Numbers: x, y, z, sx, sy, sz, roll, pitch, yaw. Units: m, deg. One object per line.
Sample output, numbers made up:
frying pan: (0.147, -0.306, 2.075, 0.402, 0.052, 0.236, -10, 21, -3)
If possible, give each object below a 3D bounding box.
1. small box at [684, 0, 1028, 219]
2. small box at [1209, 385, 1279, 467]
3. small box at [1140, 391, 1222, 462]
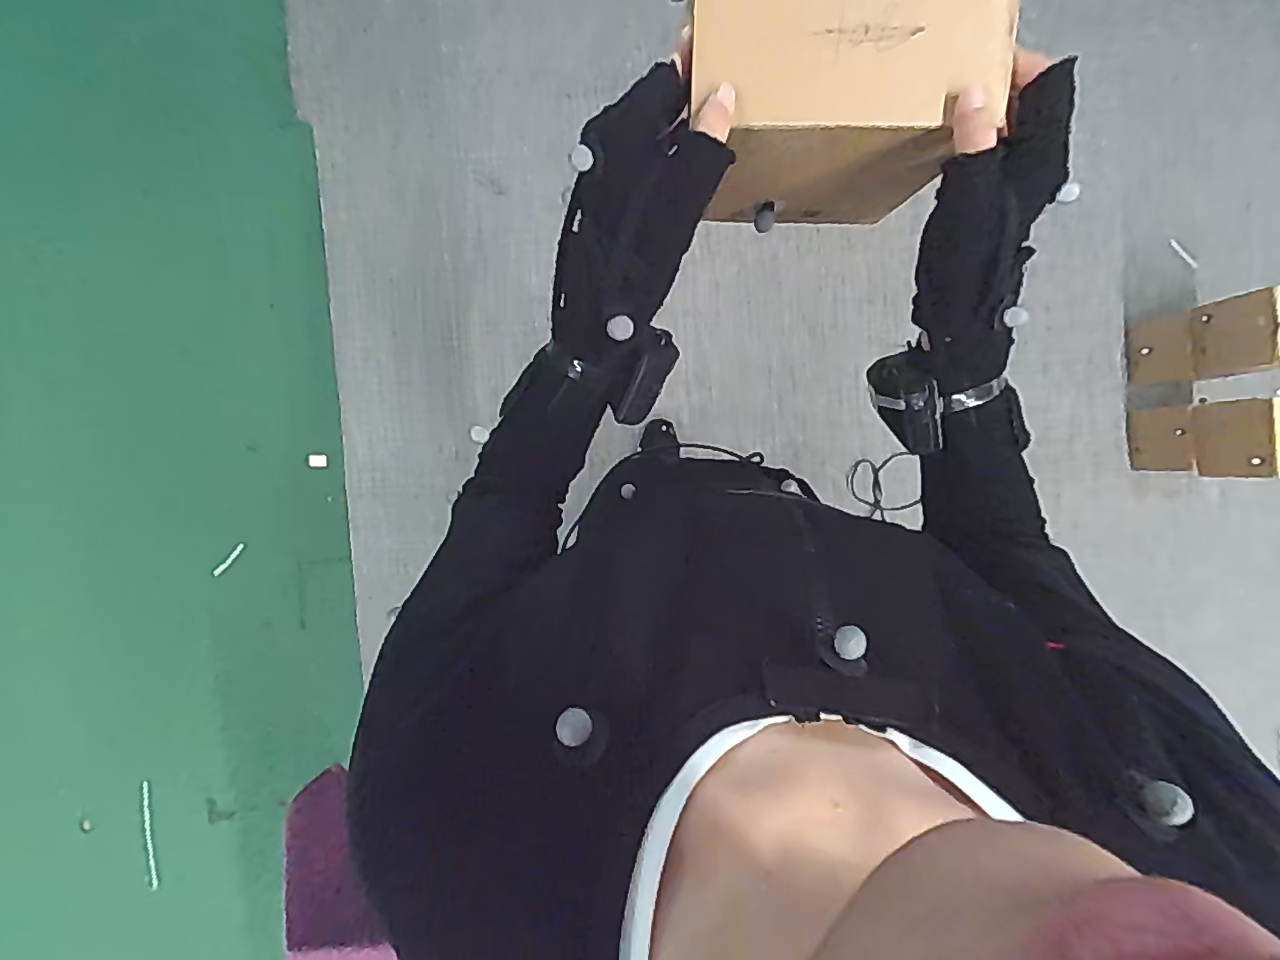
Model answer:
small box: (0.116, -0.288, 0.347, 0.168, 0.176, 0.179, 2, 100, 2)
small box: (1.417, -0.123, 1.191, 0.168, 0.176, 0.179, -7, 93, 2)
small box: (1.416, -0.136, 1.354, 0.179, 0.176, 0.168, -6, 92, 1)
